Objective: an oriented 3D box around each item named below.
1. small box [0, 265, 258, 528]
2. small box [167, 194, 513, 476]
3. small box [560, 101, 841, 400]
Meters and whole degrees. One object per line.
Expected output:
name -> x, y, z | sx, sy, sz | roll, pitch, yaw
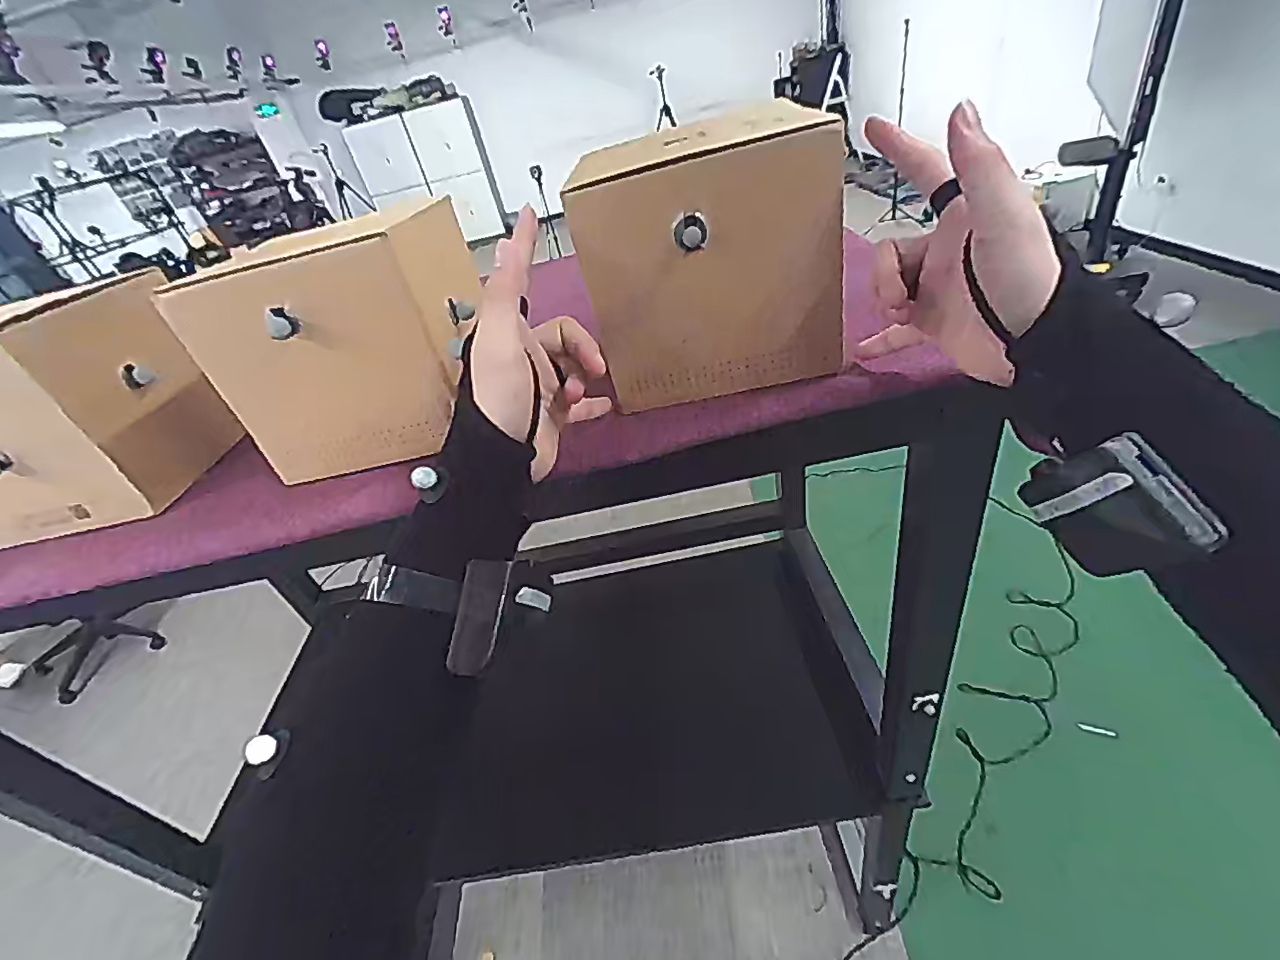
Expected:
small box -> -0.503, -0.072, 0.493 | 0.168, 0.176, 0.179 | -11, 35, 4
small box -> -0.227, -0.127, 0.472 | 0.179, 0.176, 0.168 | -12, 34, 6
small box -> 0.053, -0.183, 0.441 | 0.179, 0.176, 0.168 | -11, 37, 9
